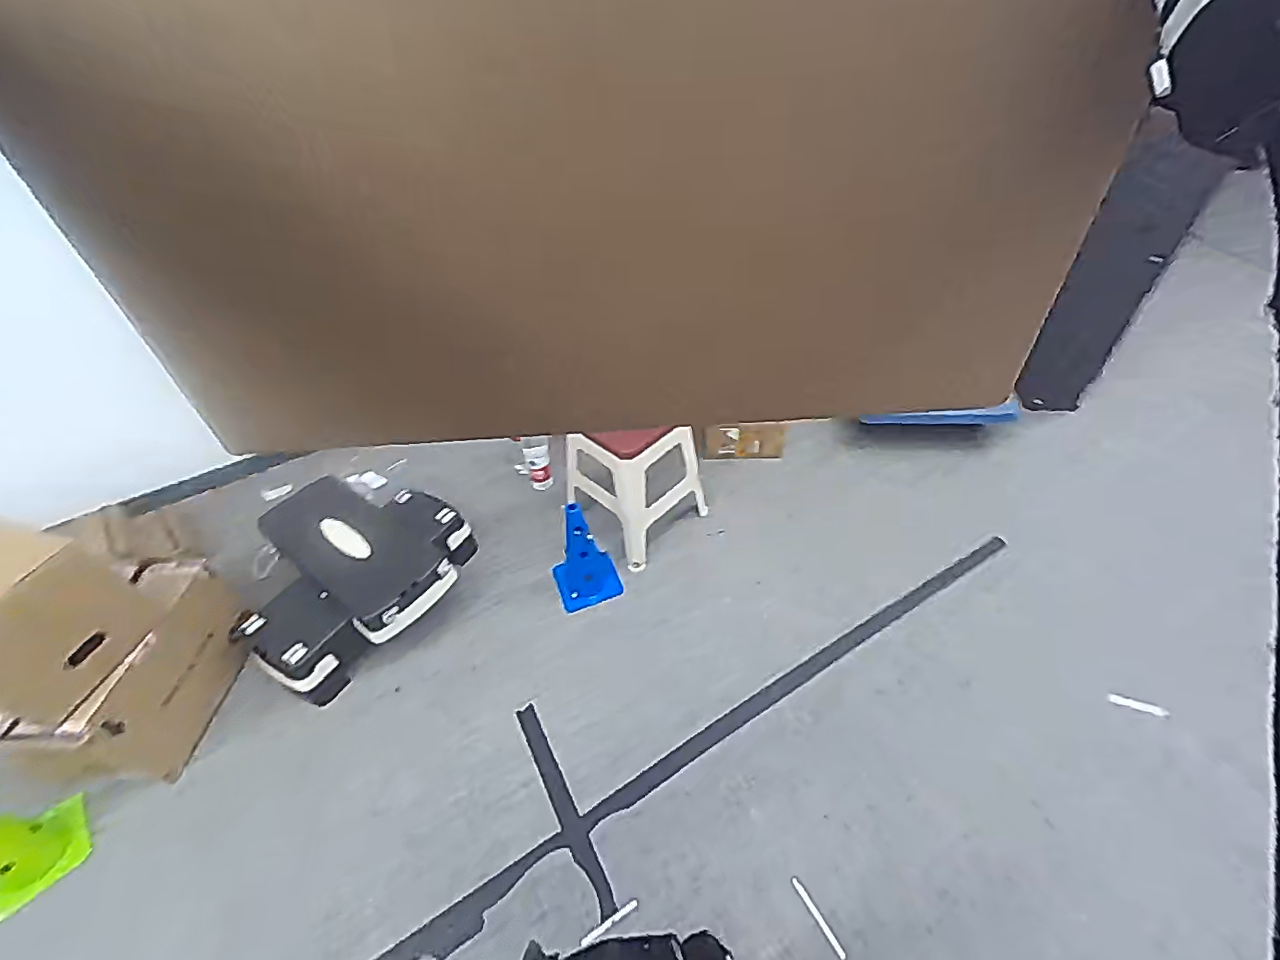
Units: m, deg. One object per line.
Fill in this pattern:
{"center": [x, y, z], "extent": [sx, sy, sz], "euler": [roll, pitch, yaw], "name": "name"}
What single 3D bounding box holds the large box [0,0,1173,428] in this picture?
{"center": [-0.022, -0.244, 0.295], "extent": [0.408, 0.320, 0.320], "euler": [-2, 43, 1], "name": "large box"}
